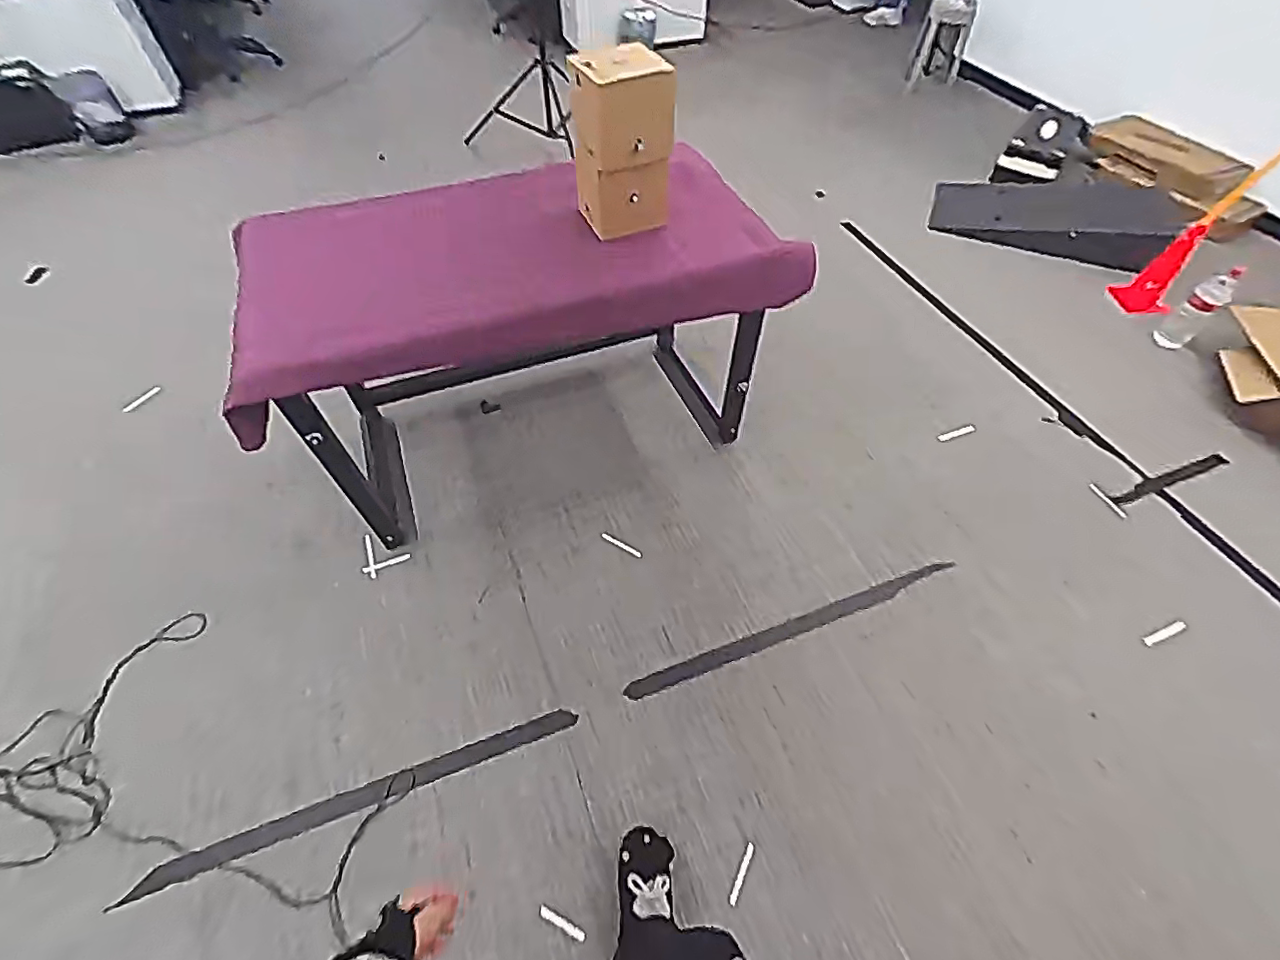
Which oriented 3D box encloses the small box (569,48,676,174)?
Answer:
[{"bbox_3d":[-0.040,-0.796,1.169,0.179,0.176,0.168,-22,57,-16],"label":"small box"}]
